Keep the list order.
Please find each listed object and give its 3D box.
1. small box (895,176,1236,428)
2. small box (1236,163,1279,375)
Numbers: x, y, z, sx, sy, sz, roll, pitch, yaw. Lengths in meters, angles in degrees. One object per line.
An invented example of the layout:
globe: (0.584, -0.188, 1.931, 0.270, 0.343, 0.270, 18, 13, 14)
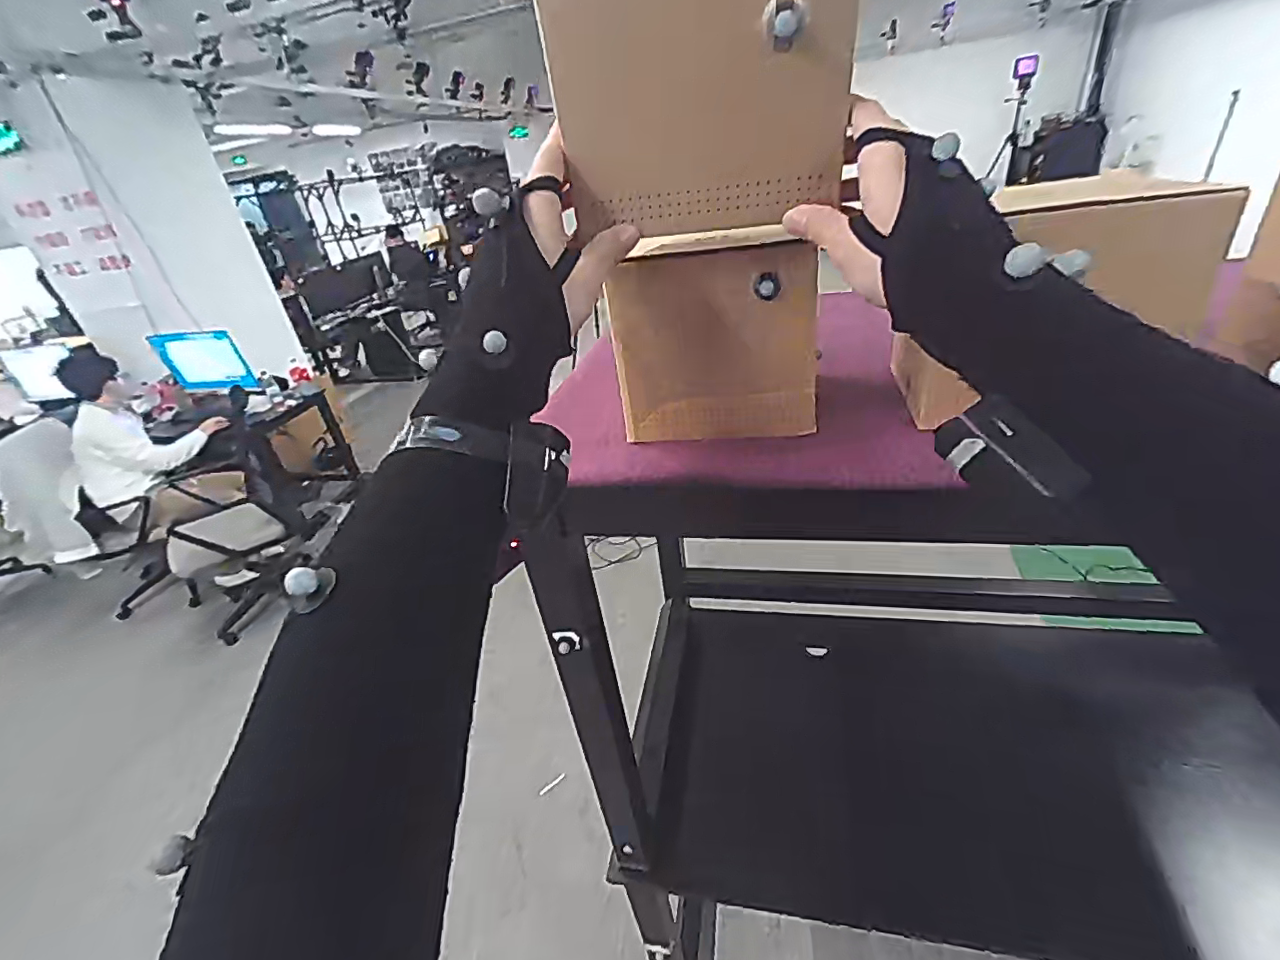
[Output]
small box: (0.324, -0.151, 0.465, 0.179, 0.176, 0.168, 0, 31, 17)
small box: (0.599, -0.154, 0.390, 0.179, 0.176, 0.168, -1, 31, 18)
